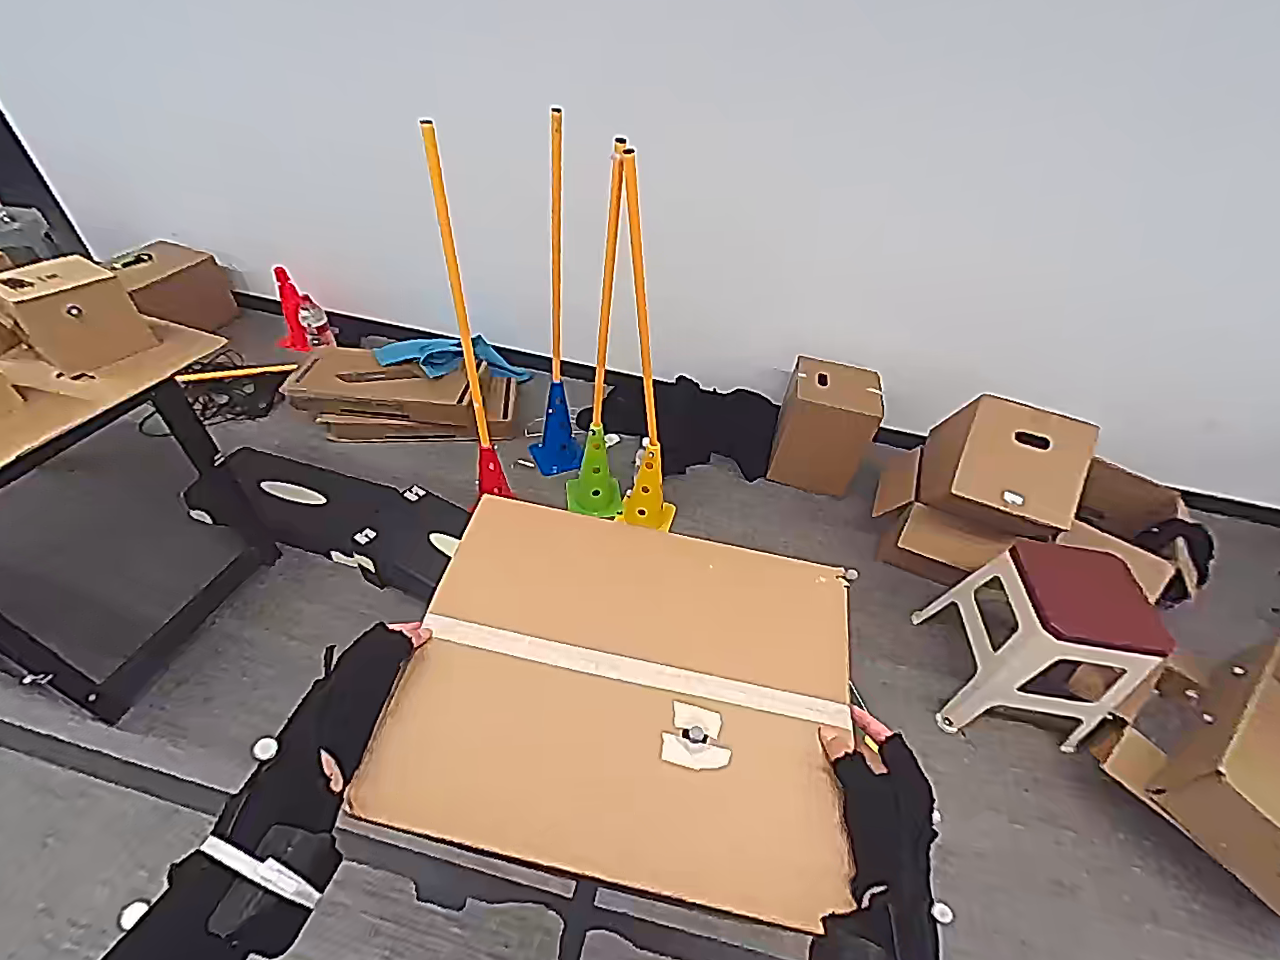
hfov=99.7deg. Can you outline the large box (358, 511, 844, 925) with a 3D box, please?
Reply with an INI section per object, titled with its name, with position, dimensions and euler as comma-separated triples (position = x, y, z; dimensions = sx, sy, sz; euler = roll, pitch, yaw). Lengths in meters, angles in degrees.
[large box]
position = -0.022, 0.278, 0.634
dimensions = 0.408, 0.320, 0.320
euler = 12, 53, 4
